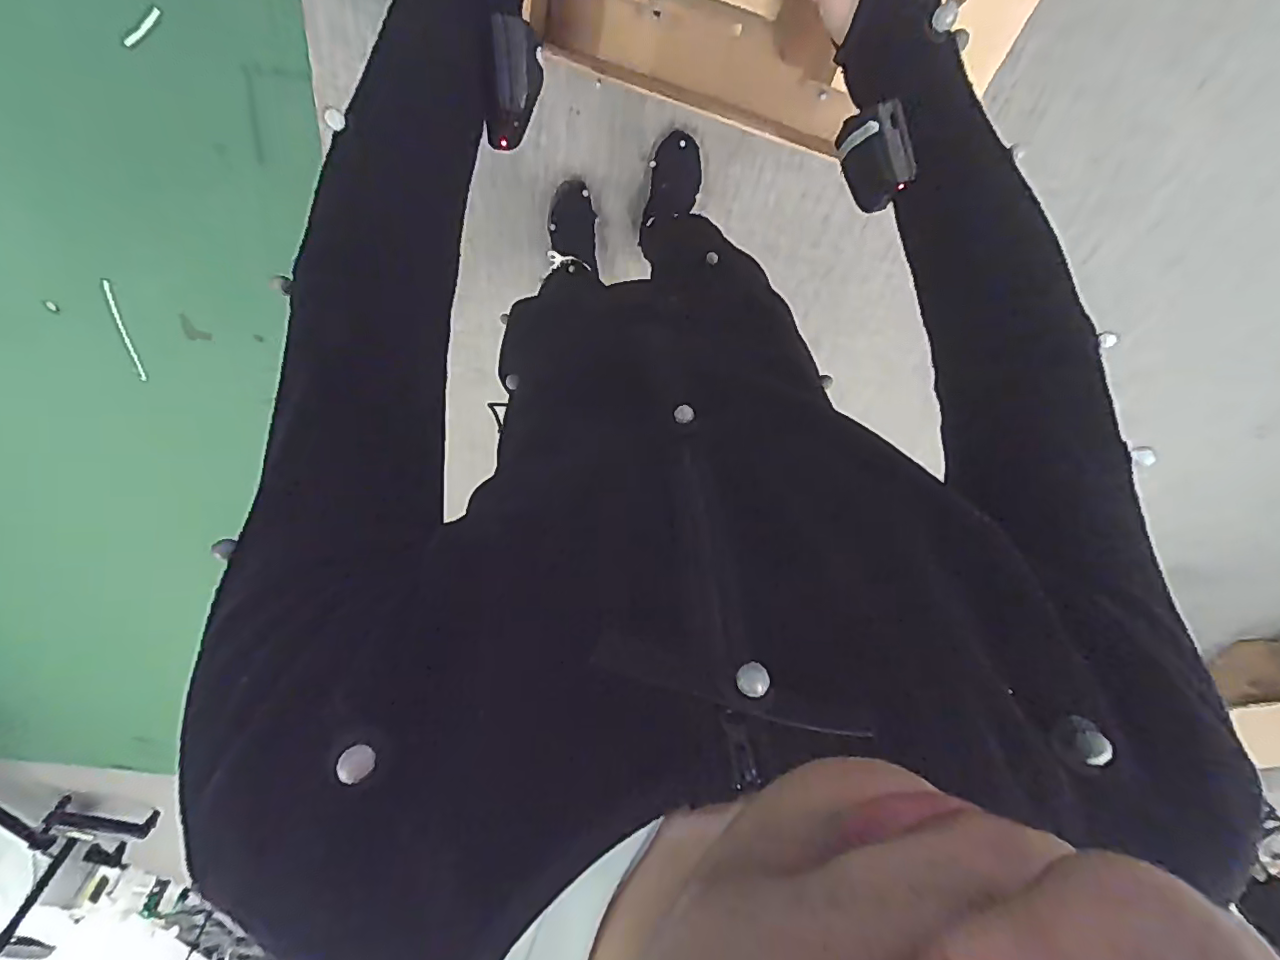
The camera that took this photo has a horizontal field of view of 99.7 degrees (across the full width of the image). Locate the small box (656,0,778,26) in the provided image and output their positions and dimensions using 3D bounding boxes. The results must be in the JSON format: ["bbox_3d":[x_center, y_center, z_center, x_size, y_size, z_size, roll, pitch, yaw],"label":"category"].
[{"bbox_3d":[0.048,-0.499,0.432,0.168,0.176,0.179,11,128,-9],"label":"small box"}]

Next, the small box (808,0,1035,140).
[{"bbox_3d":[0.311,-0.526,0.621,0.168,0.176,0.179,16,127,-10],"label":"small box"}]
